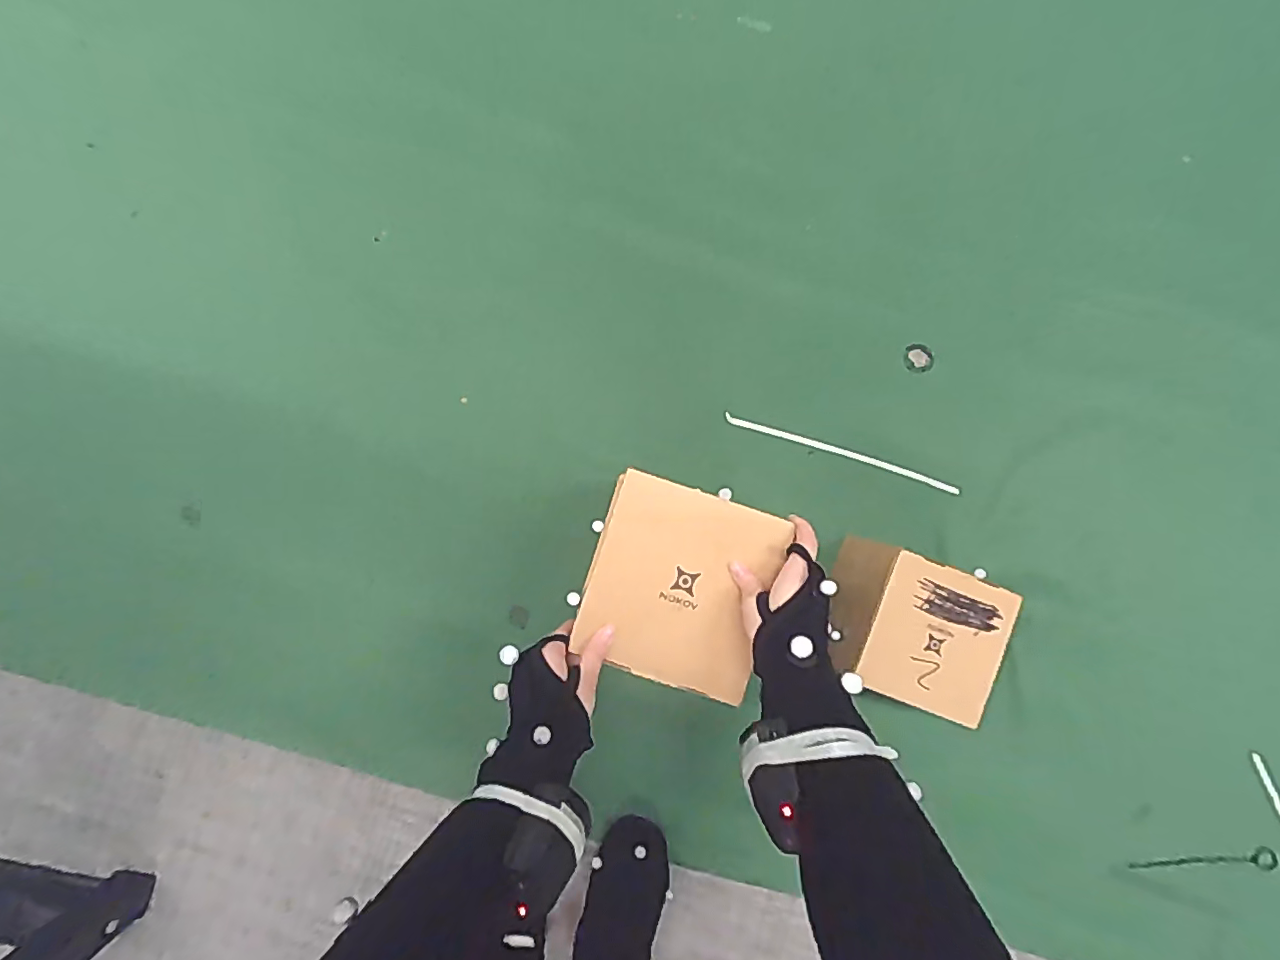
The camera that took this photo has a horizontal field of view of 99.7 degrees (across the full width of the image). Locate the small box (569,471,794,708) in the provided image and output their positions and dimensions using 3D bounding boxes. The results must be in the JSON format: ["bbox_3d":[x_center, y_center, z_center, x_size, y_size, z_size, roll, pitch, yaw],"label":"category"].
[{"bbox_3d":[0.036,0.101,0.567,0.168,0.176,0.179,18,88,-1],"label":"small box"}]
